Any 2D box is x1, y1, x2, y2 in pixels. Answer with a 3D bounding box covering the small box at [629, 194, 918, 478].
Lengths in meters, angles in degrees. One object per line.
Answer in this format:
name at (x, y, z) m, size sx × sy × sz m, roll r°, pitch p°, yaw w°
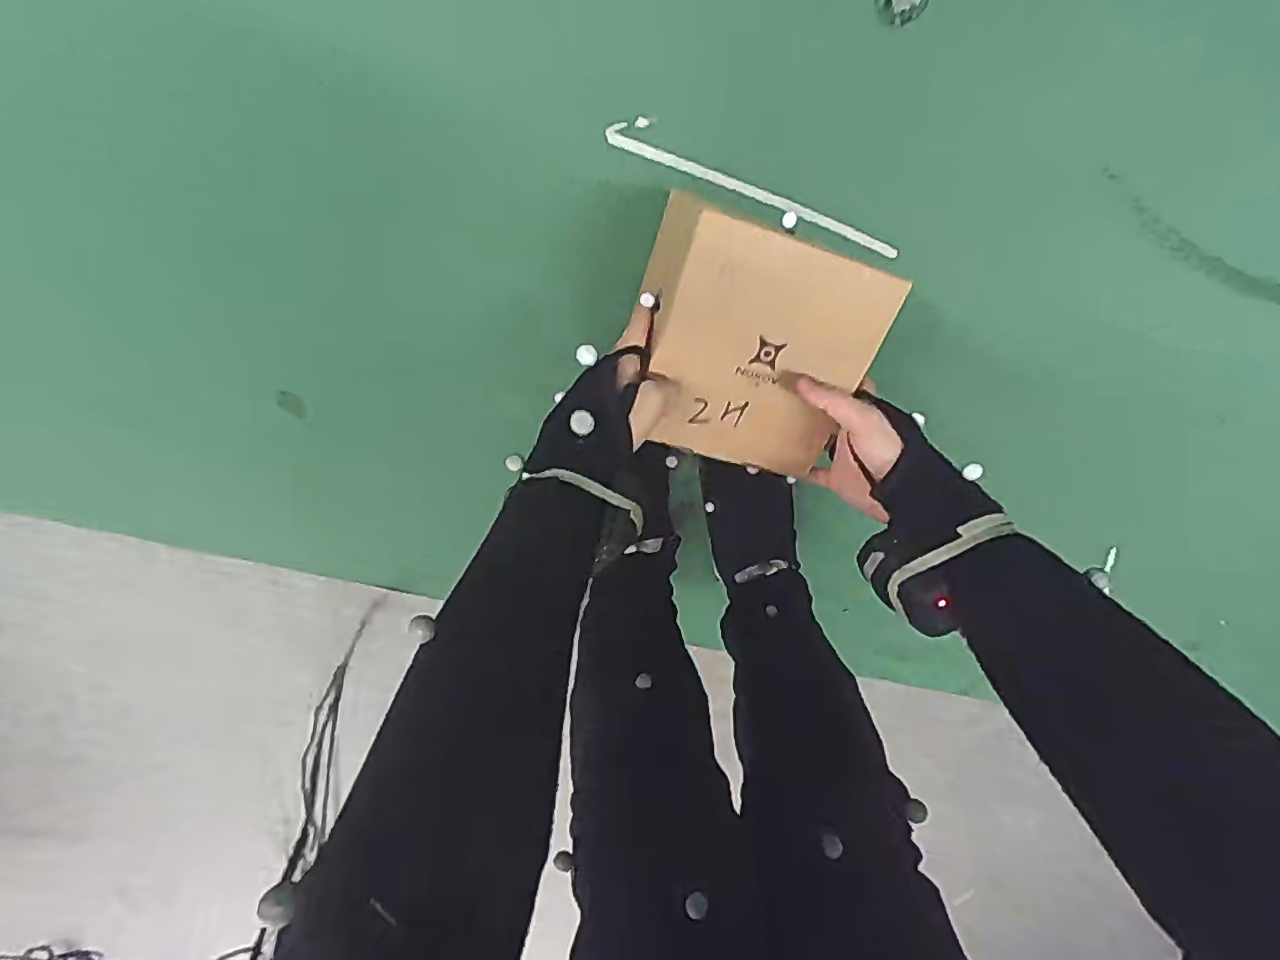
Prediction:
small box at (0.092, -0.133, 0.478) m, size 0.168 × 0.176 × 0.179 m, roll 15°, pitch 119°, yaw -13°
